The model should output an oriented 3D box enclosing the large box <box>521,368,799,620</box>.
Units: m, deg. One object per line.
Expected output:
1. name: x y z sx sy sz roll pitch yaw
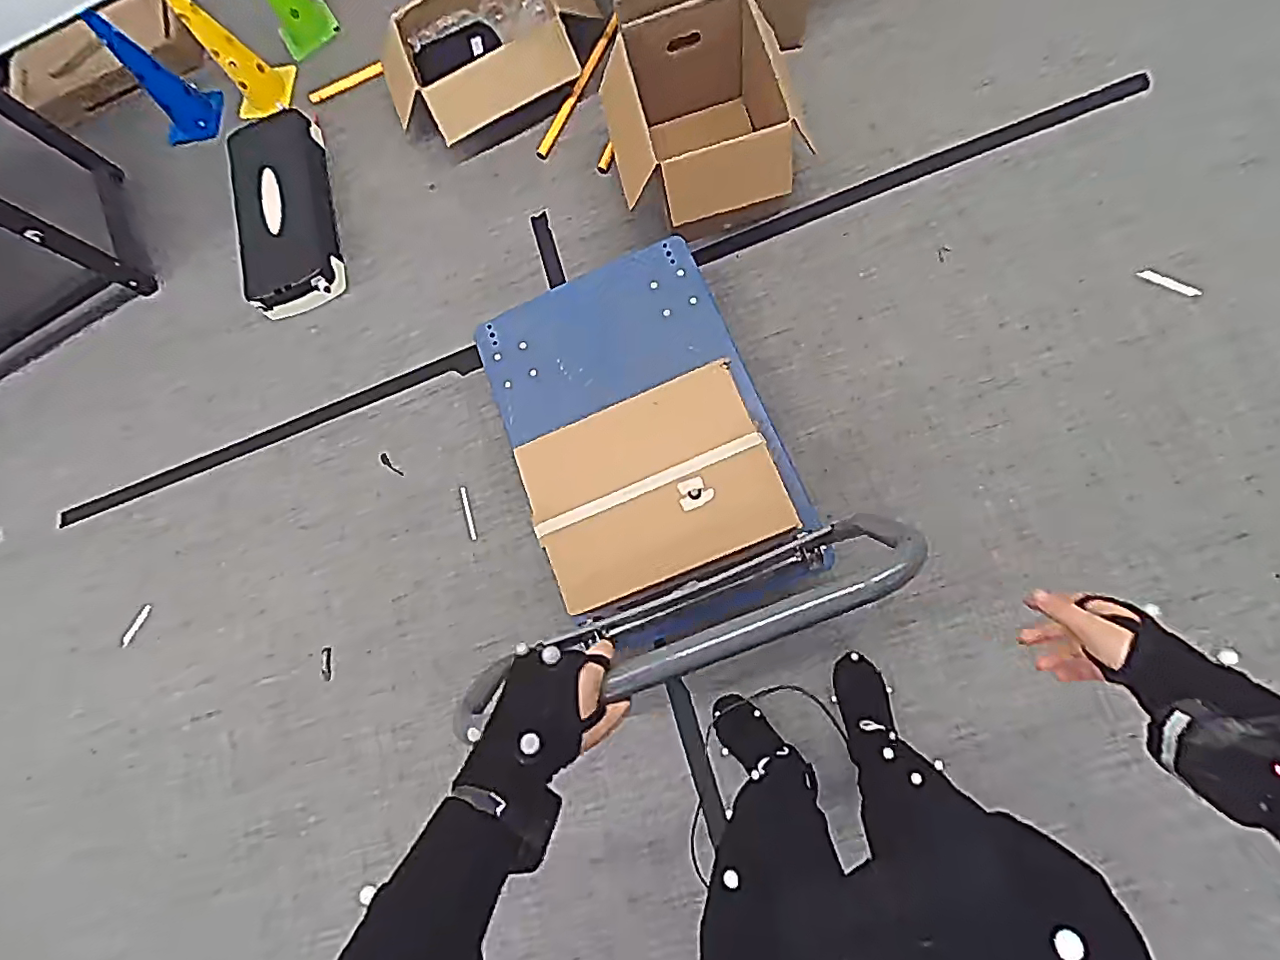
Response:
1. large box: 0.043 0.050 1.055 0.408 0.320 0.320 -23 76 4
